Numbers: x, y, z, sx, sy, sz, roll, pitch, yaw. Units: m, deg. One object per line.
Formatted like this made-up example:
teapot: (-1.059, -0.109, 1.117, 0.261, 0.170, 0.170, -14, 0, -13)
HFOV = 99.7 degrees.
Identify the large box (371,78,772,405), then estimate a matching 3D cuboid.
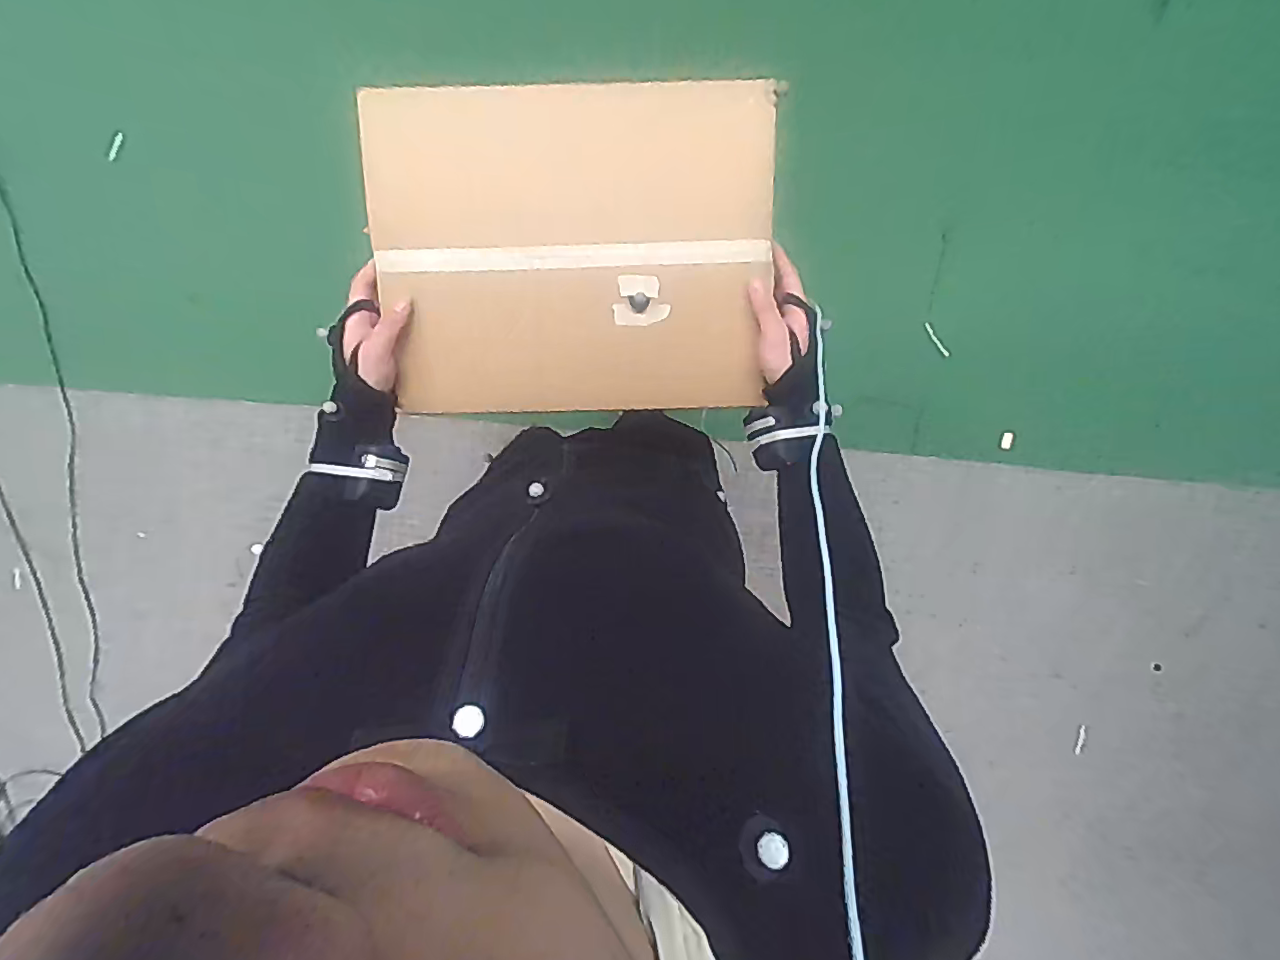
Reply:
large box: (-0.067, -0.268, 0.706, 0.408, 0.320, 0.320, -2, 102, -1)
